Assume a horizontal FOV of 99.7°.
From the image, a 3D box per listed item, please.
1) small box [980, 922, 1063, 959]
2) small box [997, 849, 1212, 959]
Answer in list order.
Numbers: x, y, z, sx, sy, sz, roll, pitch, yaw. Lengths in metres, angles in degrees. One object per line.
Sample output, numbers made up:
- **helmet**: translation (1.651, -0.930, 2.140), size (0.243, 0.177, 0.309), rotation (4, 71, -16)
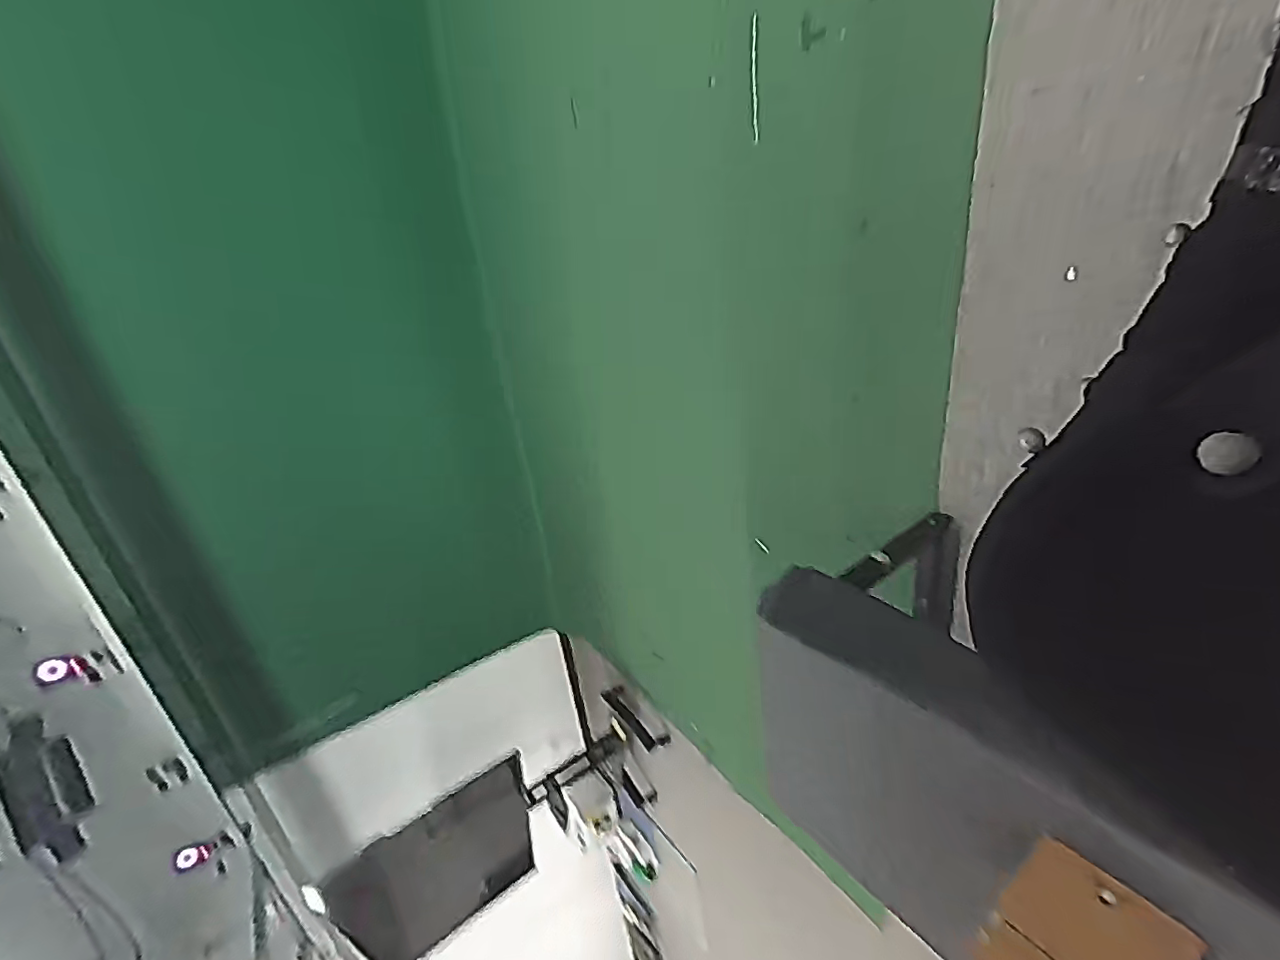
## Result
- **small box**: translation (0.490, 0.711, 0.657), size (0.168, 0.176, 0.179), rotation (20, 125, 50)
- **small box**: translation (0.618, 0.654, 0.739), size (0.179, 0.176, 0.168), rotation (25, 131, 51)
